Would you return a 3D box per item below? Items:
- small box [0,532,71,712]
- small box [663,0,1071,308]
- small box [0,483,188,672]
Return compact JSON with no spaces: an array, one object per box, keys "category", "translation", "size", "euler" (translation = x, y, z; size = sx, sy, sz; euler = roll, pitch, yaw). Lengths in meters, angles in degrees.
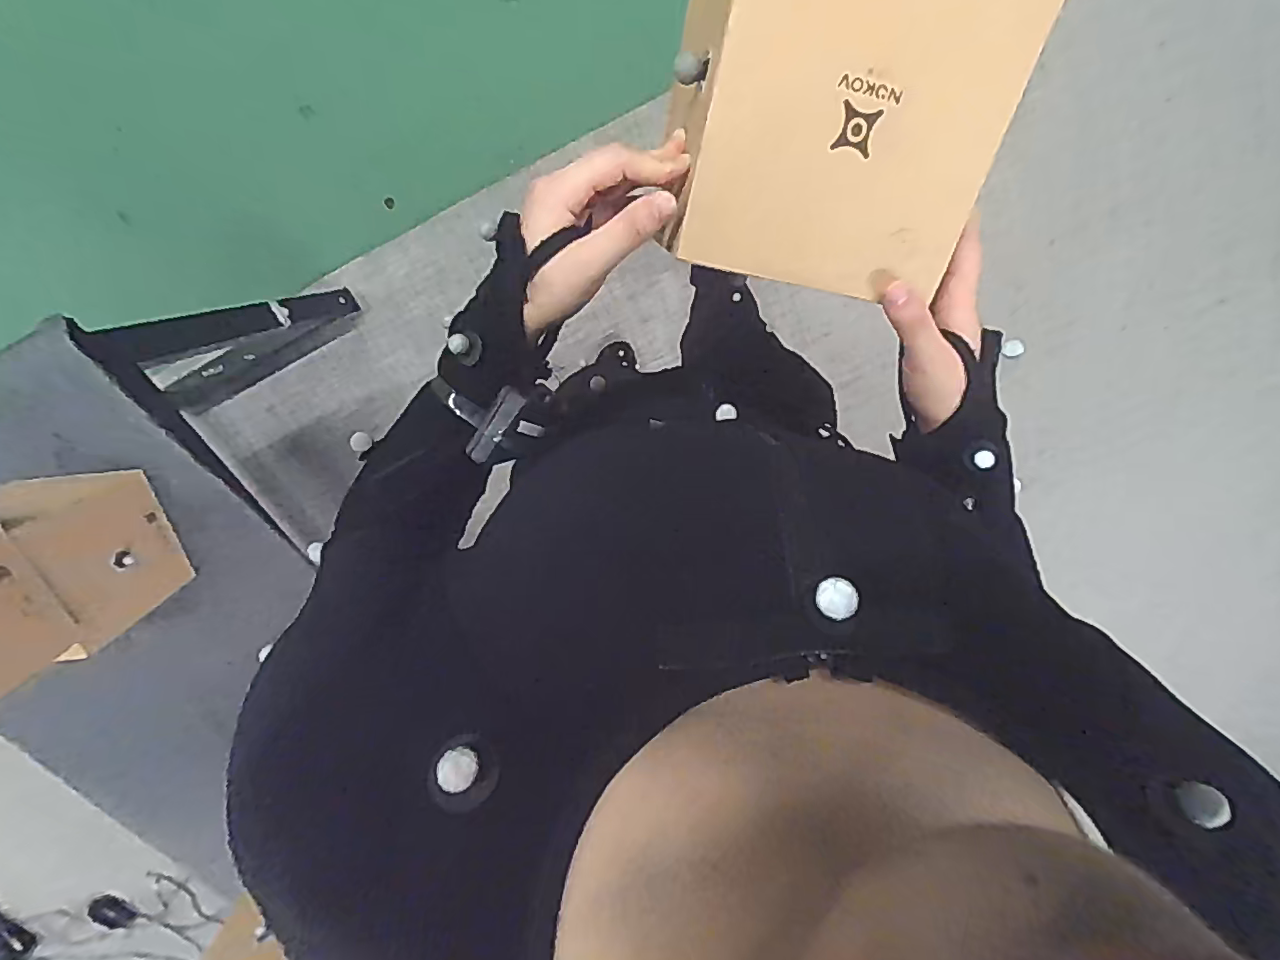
[{"category":"small box","translation":[-0.699,0.157,0.495],"size":[0.179,0.176,0.168],"euler":[-9,112,5]},{"category":"small box","translation":[0.115,-0.230,0.355],"size":[0.168,0.176,0.179],"euler":[7,118,-9]},{"category":"small box","translation":[-0.703,0.112,0.652],"size":[0.179,0.176,0.168],"euler":[-5,113,3]}]
